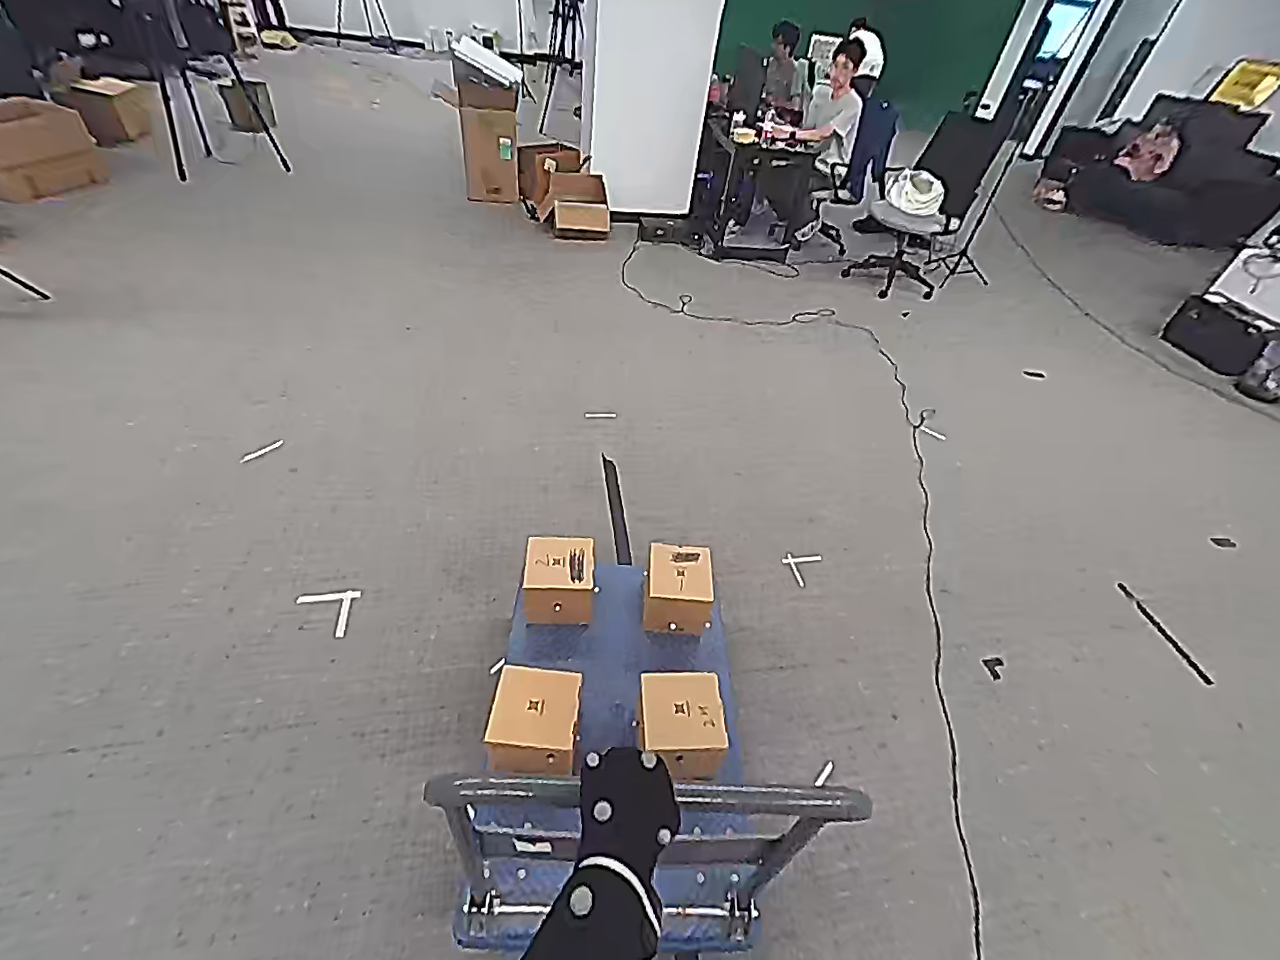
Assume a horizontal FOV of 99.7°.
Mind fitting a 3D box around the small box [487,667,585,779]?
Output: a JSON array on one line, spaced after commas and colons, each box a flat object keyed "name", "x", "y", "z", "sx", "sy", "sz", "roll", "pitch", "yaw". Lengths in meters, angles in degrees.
[{"name": "small box", "x": -0.221, "y": 0.531, "z": 1.177, "sx": 0.179, "sy": 0.176, "sz": 0.168, "roll": 7, "pitch": 42, "yaw": -3}]

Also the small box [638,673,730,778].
[{"name": "small box", "x": 0.087, "y": 0.548, "z": 1.204, "sx": 0.179, "sy": 0.176, "sz": 0.168, "roll": 2, "pitch": 43, "yaw": -6}]

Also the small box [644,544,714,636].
[{"name": "small box", "x": 0.101, "y": 0.300, "z": 1.474, "sx": 0.168, "sy": 0.176, "sz": 0.179, "roll": 6, "pitch": 44, "yaw": -3}]
